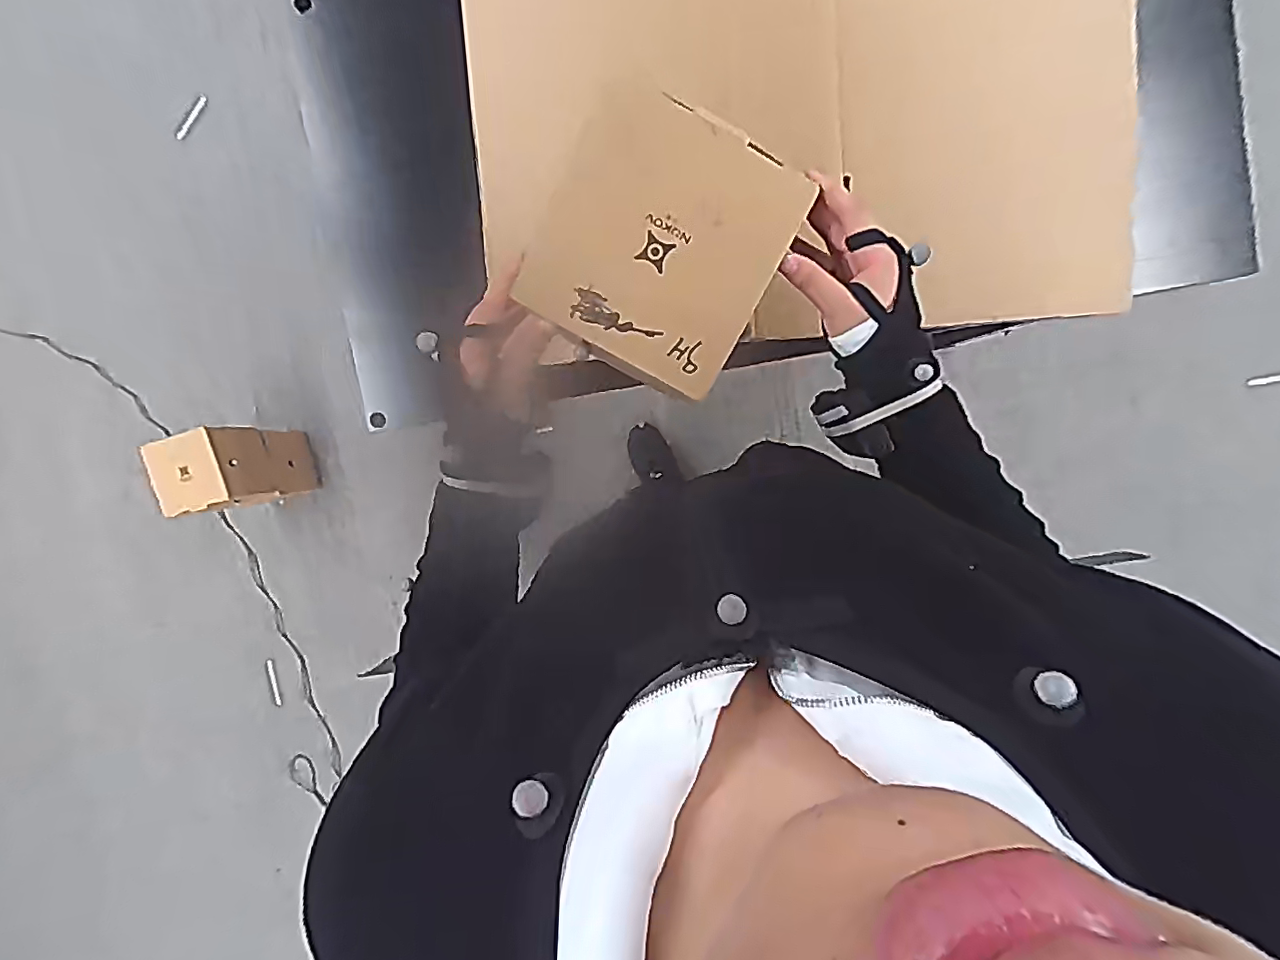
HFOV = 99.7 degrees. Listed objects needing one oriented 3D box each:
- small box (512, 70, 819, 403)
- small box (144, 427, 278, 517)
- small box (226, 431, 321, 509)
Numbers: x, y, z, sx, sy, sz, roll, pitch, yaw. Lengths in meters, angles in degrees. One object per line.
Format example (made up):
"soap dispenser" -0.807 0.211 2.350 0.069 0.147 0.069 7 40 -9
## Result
"small box" 0.018 -0.182 0.468 0.168 0.176 0.179 29 95 -1
"small box" -1.028 -0.023 1.313 0.168 0.176 0.179 -17 93 4
"small box" -1.016 -0.032 1.475 0.168 0.176 0.179 -13 94 4
